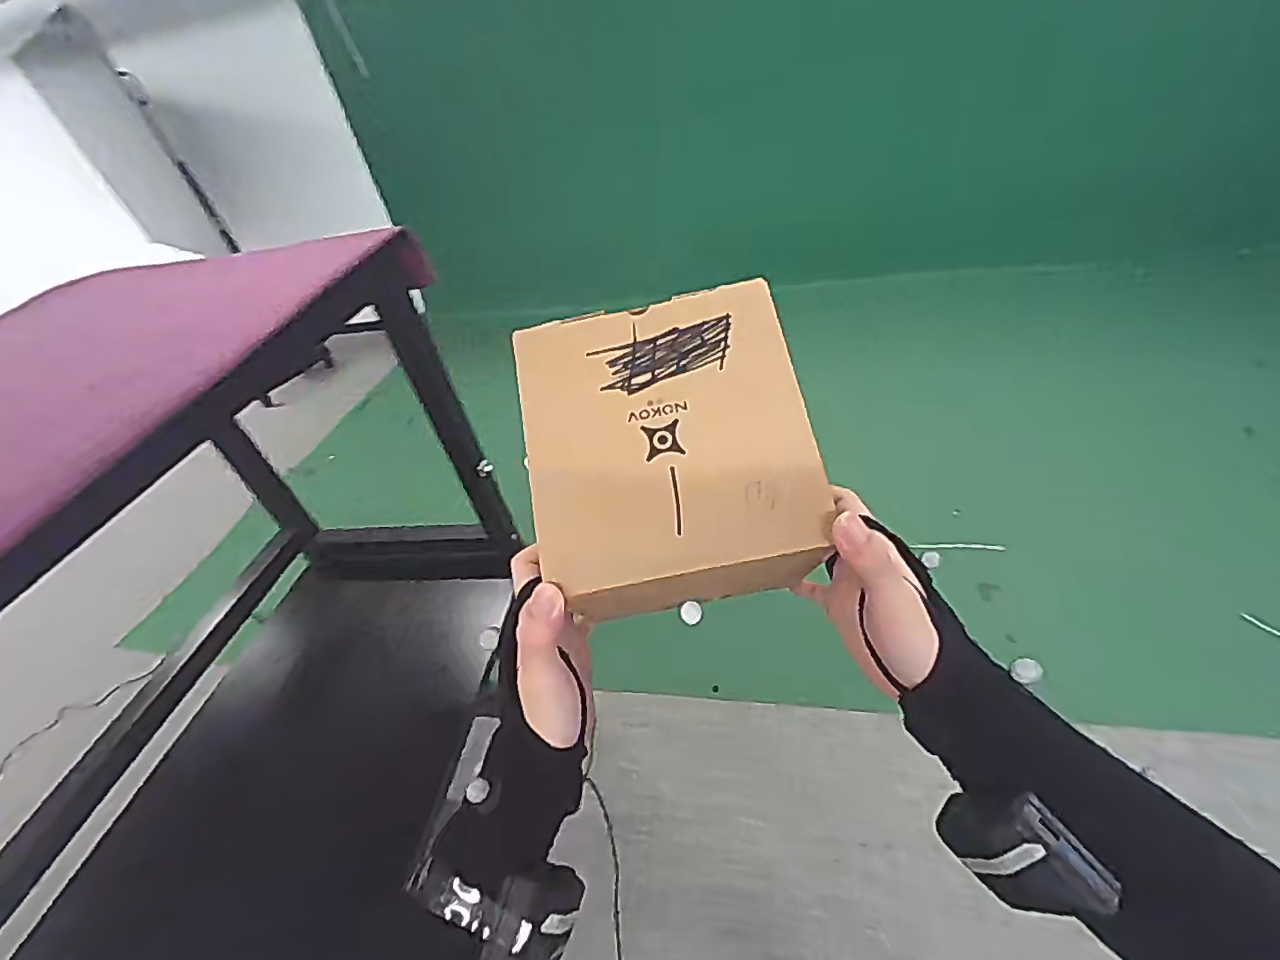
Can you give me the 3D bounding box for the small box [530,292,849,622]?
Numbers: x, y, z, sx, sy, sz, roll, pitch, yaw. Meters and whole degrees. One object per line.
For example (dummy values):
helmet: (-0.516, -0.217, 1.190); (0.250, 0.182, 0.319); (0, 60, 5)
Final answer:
small box: (0.029, -0.001, 0.396); (0.168, 0.176, 0.179); (-11, 71, 4)
